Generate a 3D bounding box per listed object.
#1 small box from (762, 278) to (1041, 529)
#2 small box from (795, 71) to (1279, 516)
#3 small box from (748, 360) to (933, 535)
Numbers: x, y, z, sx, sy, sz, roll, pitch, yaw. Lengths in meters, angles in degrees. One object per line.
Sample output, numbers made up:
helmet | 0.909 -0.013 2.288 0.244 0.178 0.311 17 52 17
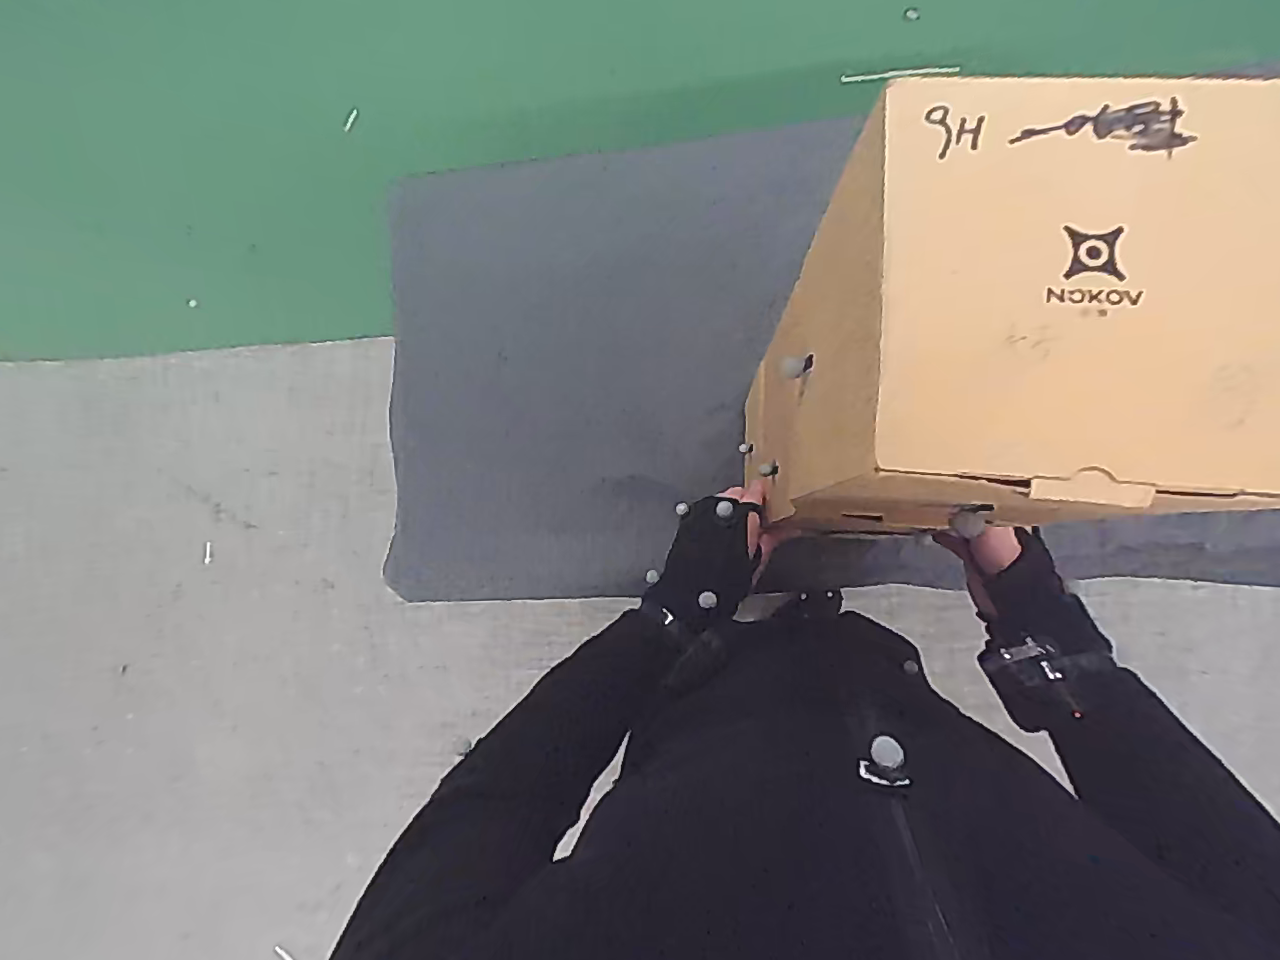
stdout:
small box | 0.198 -0.050 0.455 0.168 0.176 0.179 1 83 5
small box | 0.185 -0.073 0.293 0.168 0.176 0.179 4 85 5
small box | 0.215 -0.028 0.614 0.168 0.176 0.179 1 83 6
